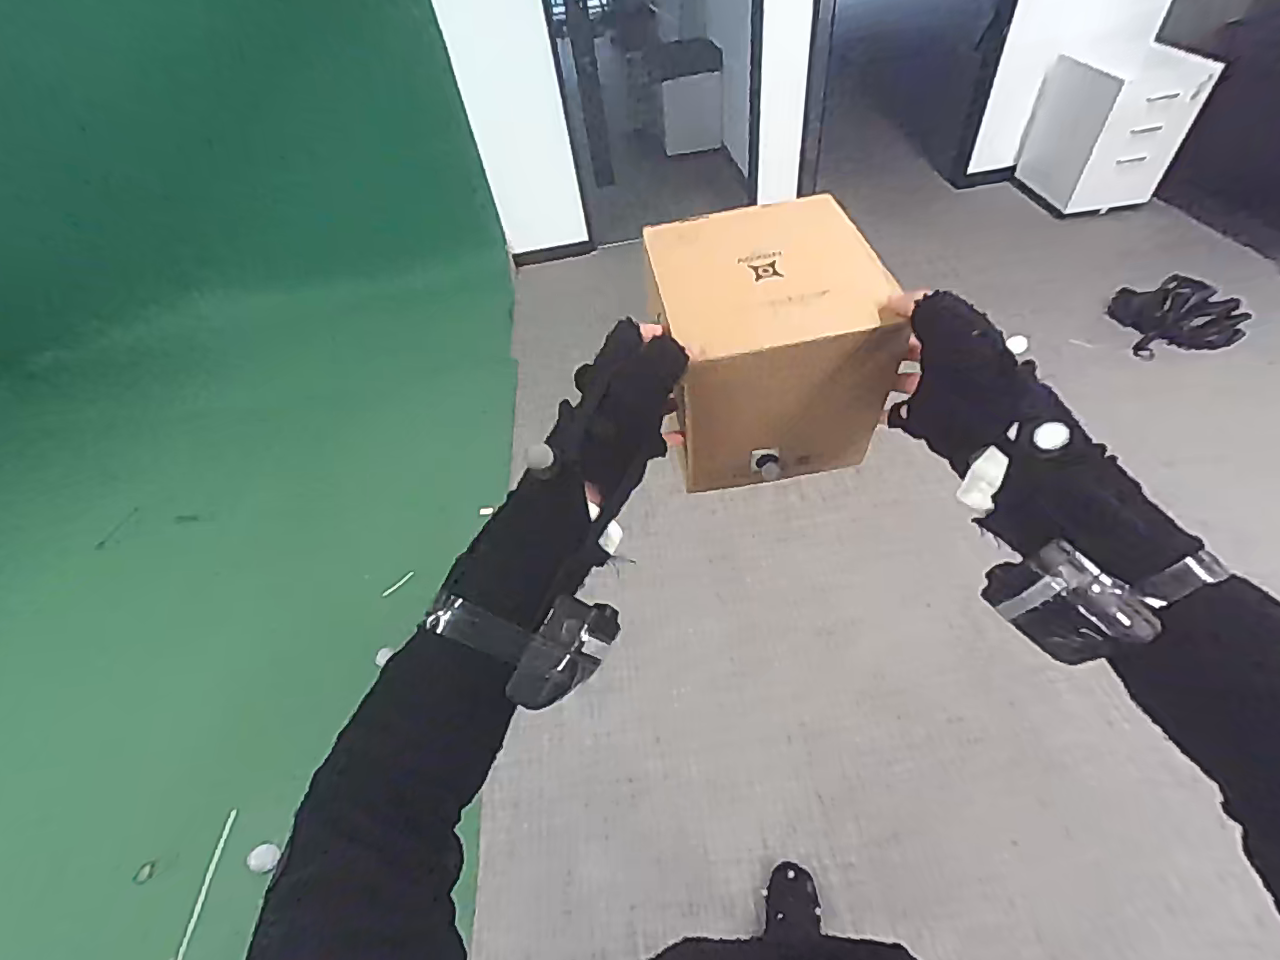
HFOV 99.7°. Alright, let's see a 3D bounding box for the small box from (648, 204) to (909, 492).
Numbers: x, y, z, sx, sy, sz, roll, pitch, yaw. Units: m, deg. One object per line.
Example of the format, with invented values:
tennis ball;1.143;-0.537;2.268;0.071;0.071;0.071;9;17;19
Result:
small box;0.104;-0.115;0.489;0.168;0.176;0.179;-11;54;0
